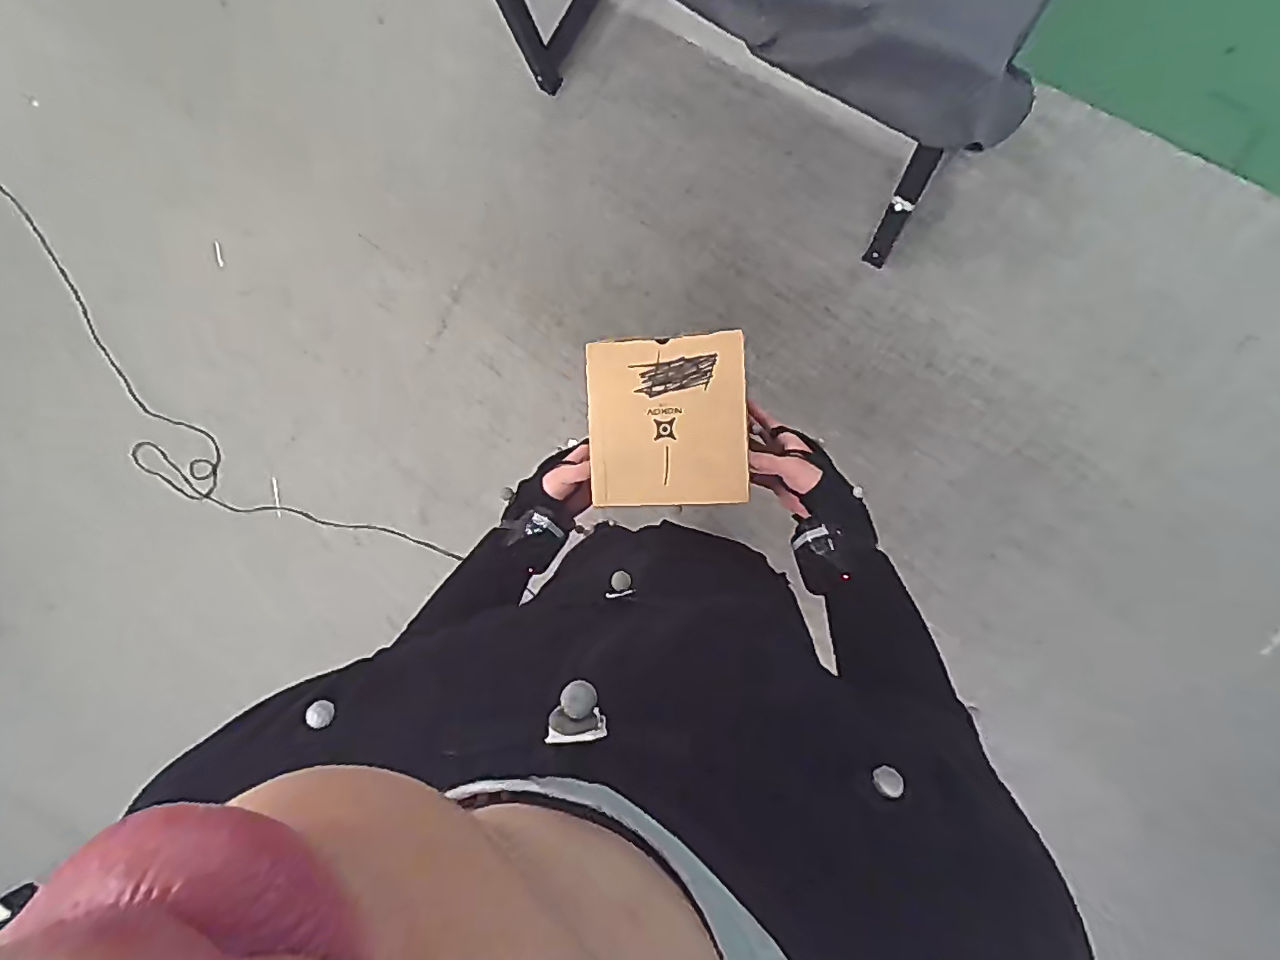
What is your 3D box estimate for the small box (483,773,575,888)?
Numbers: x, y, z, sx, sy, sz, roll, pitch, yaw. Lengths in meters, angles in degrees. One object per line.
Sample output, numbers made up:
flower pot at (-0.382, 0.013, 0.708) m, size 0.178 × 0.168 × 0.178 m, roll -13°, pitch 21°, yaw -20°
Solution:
small box at (-0.308, 0.988, 1.540) m, size 0.168 × 0.176 × 0.179 m, roll 31°, pitch 93°, yaw 8°
